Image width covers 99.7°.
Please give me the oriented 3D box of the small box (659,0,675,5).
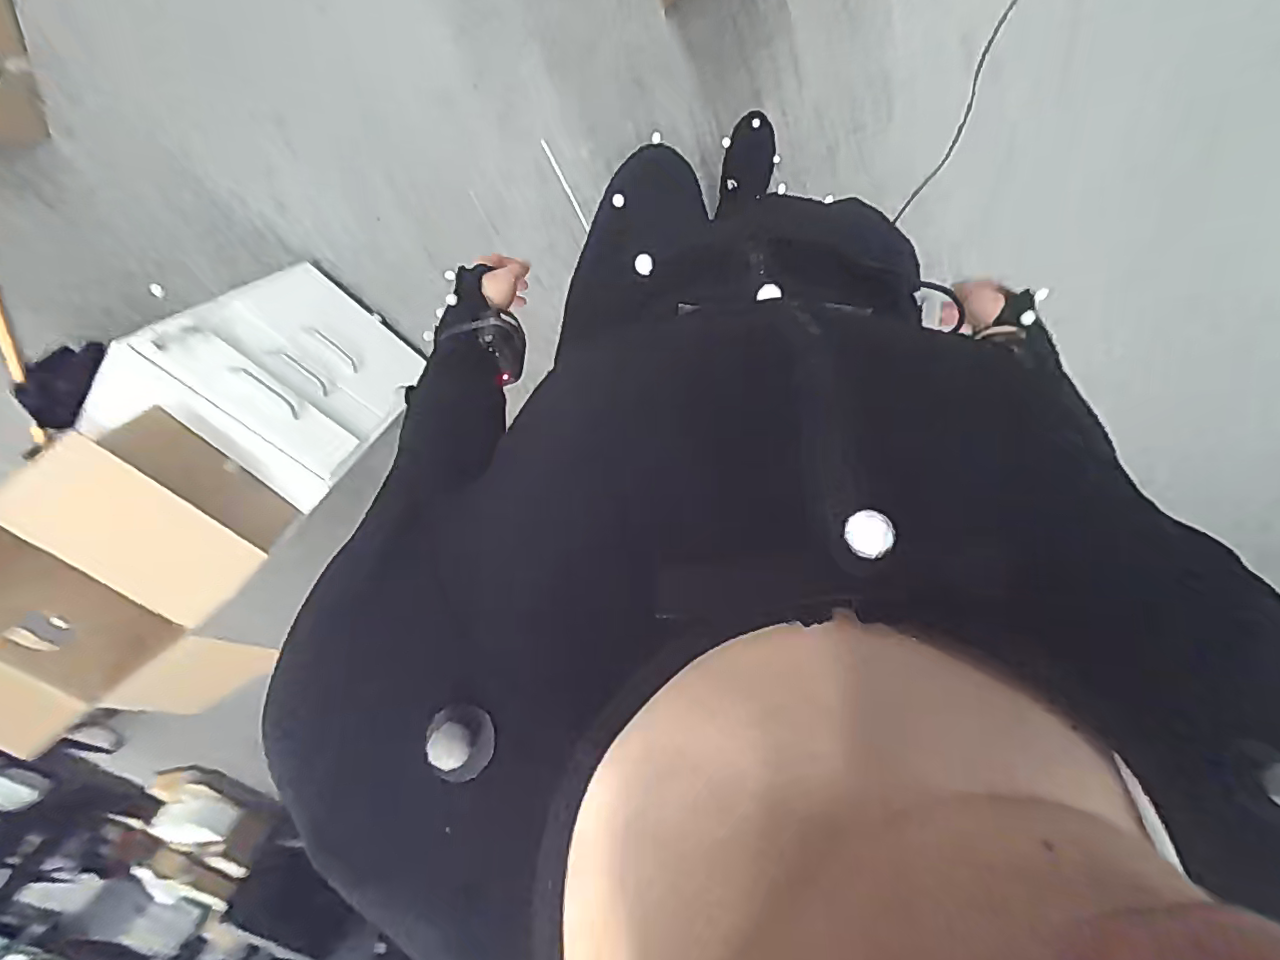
[{"bbox_3d":[0.076,-0.959,0.917,0.179,0.176,0.168,-22,120,20],"label":"small box"}]
